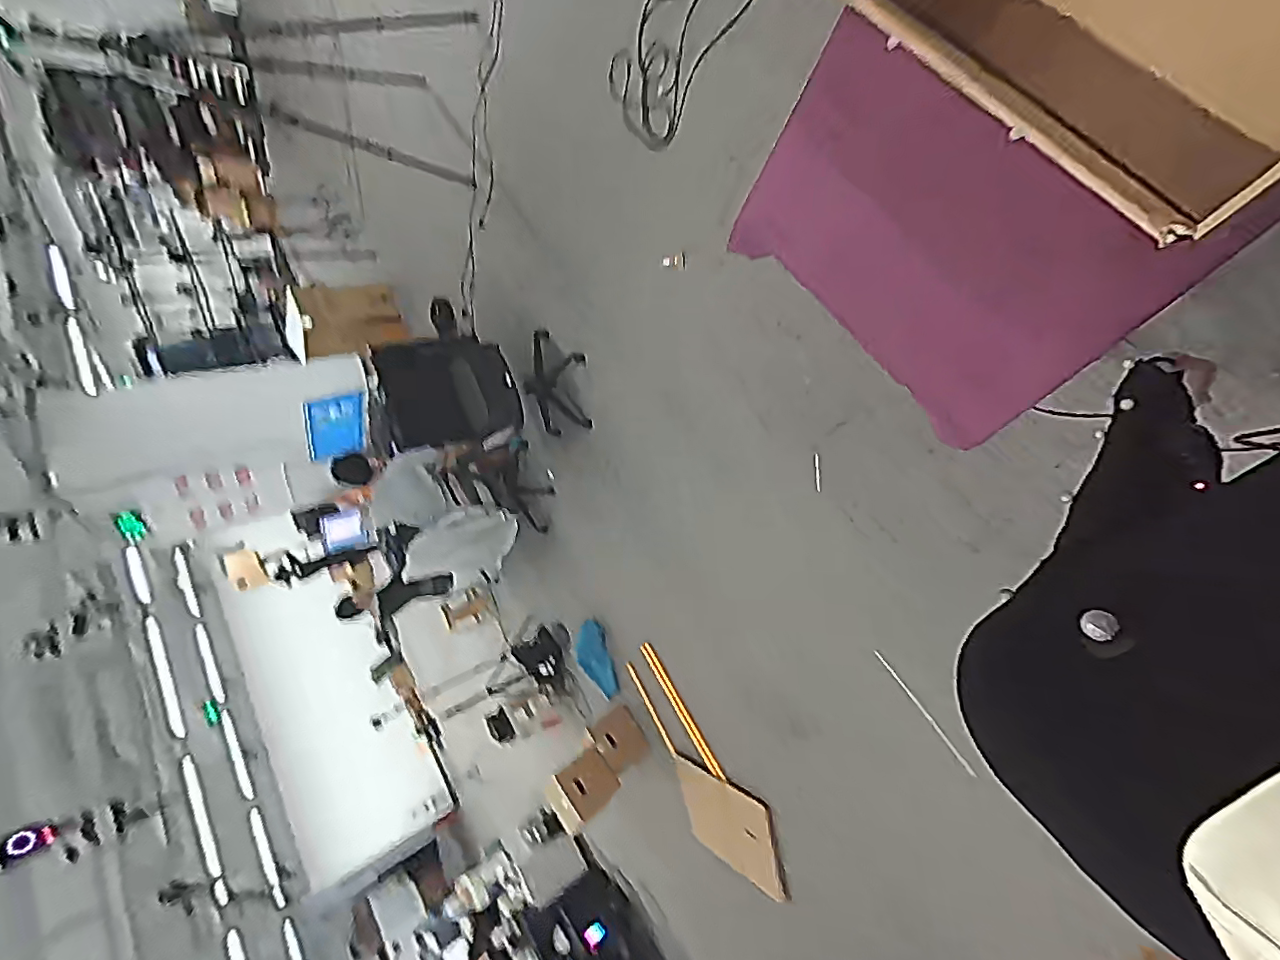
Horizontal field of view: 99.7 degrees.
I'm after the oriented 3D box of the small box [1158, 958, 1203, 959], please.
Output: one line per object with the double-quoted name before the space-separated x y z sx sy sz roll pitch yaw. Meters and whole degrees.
"small box" 1.473 1.392 1.405 0.168 0.176 0.179 53 141 24
